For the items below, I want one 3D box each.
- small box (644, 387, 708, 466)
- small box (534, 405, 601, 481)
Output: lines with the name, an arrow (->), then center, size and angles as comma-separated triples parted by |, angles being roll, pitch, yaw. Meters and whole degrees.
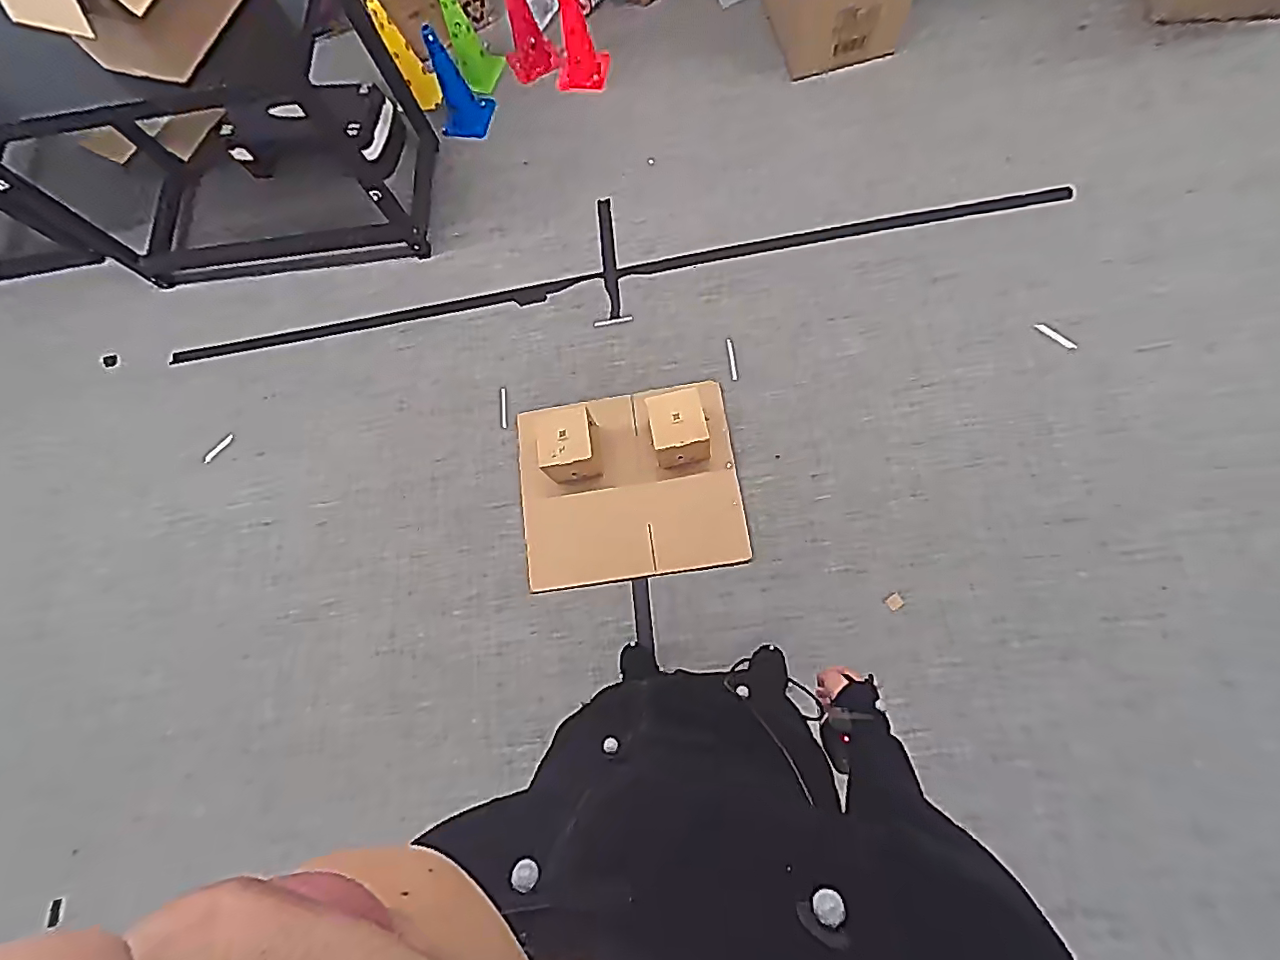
small box -> 0.114, -0.163, 1.682 | 0.168, 0.176, 0.179 | -13, 73, 4
small box -> -0.226, -0.113, 1.704 | 0.168, 0.176, 0.179 | -10, 74, 5
